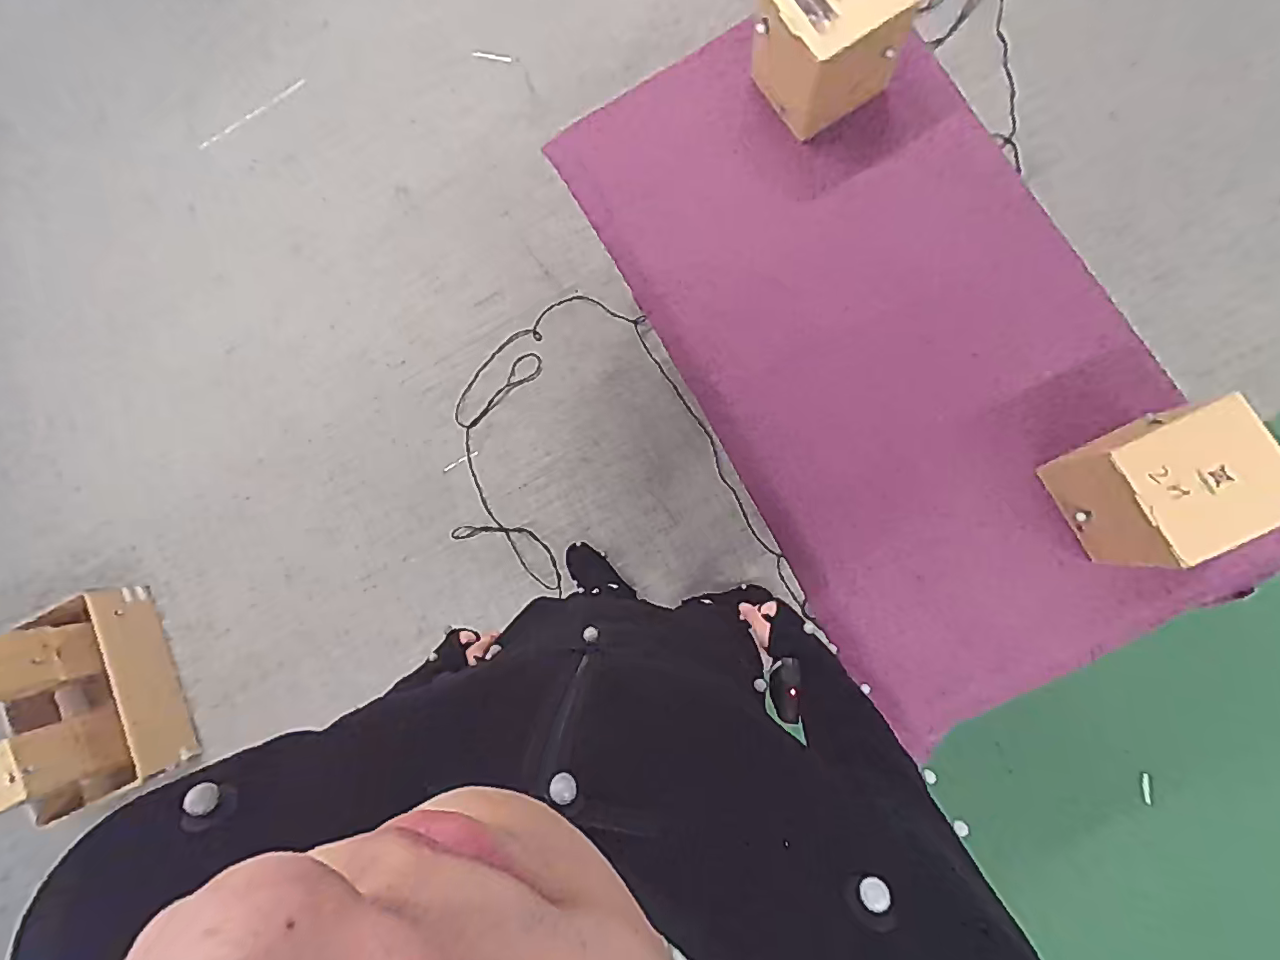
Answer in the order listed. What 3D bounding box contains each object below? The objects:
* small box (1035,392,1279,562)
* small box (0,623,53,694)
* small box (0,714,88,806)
[{"bbox_3d":[0.722,0.003,0.764,0.179,0.176,0.168,-27,81,5],"label":"small box"},{"bbox_3d":[-1.853,0.522,1.539,0.179,0.176,0.168,-22,83,3],"label":"small box"},{"bbox_3d":[-1.714,0.786,1.502,0.179,0.176,0.168,-29,84,4],"label":"small box"}]
